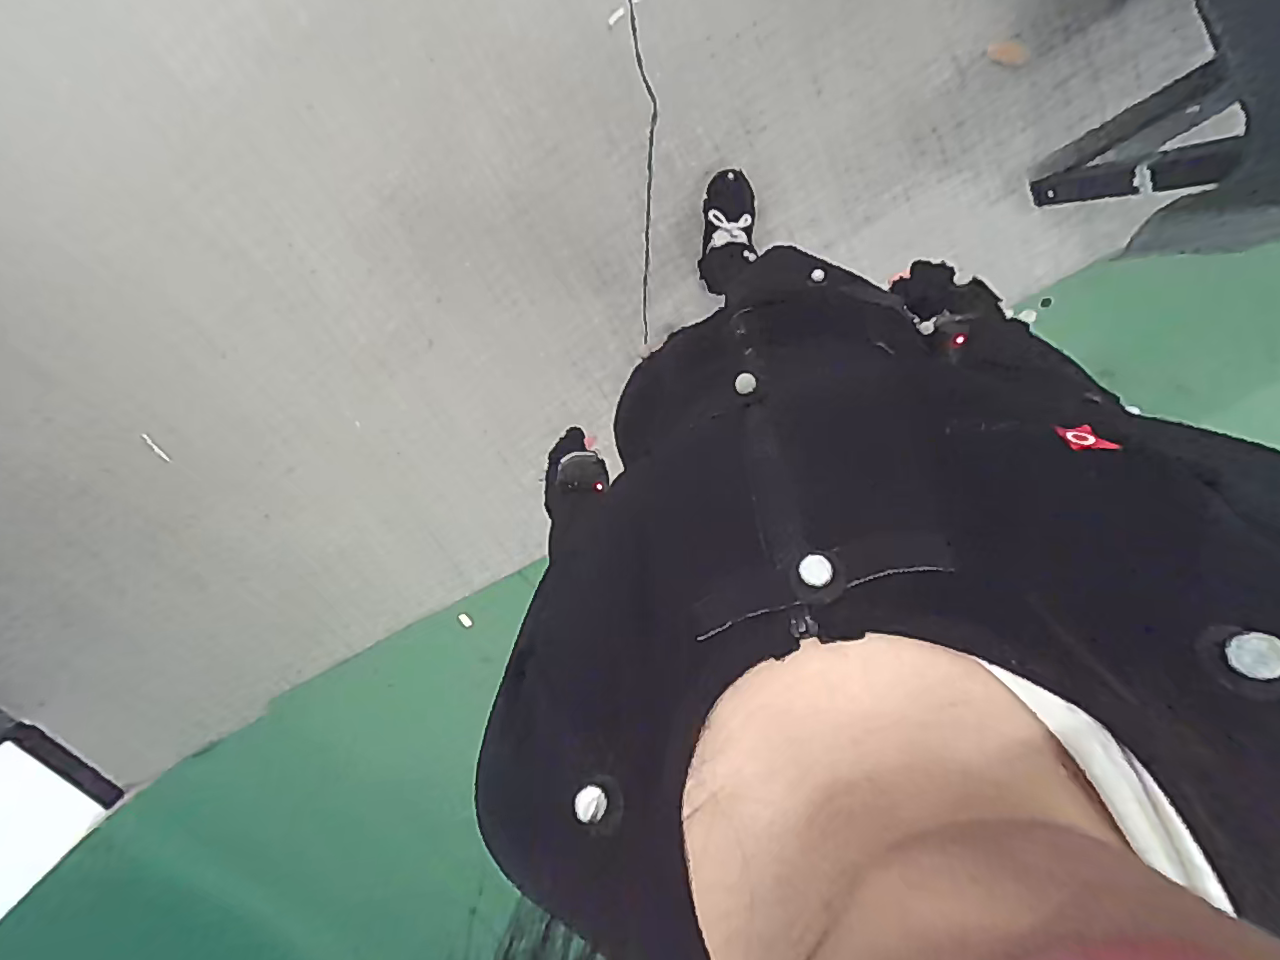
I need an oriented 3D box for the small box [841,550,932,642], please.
[{"bbox_3d":[0.698,0.322,1.550,0.168,0.176,0.179,-24,109,13],"label":"small box"}]
